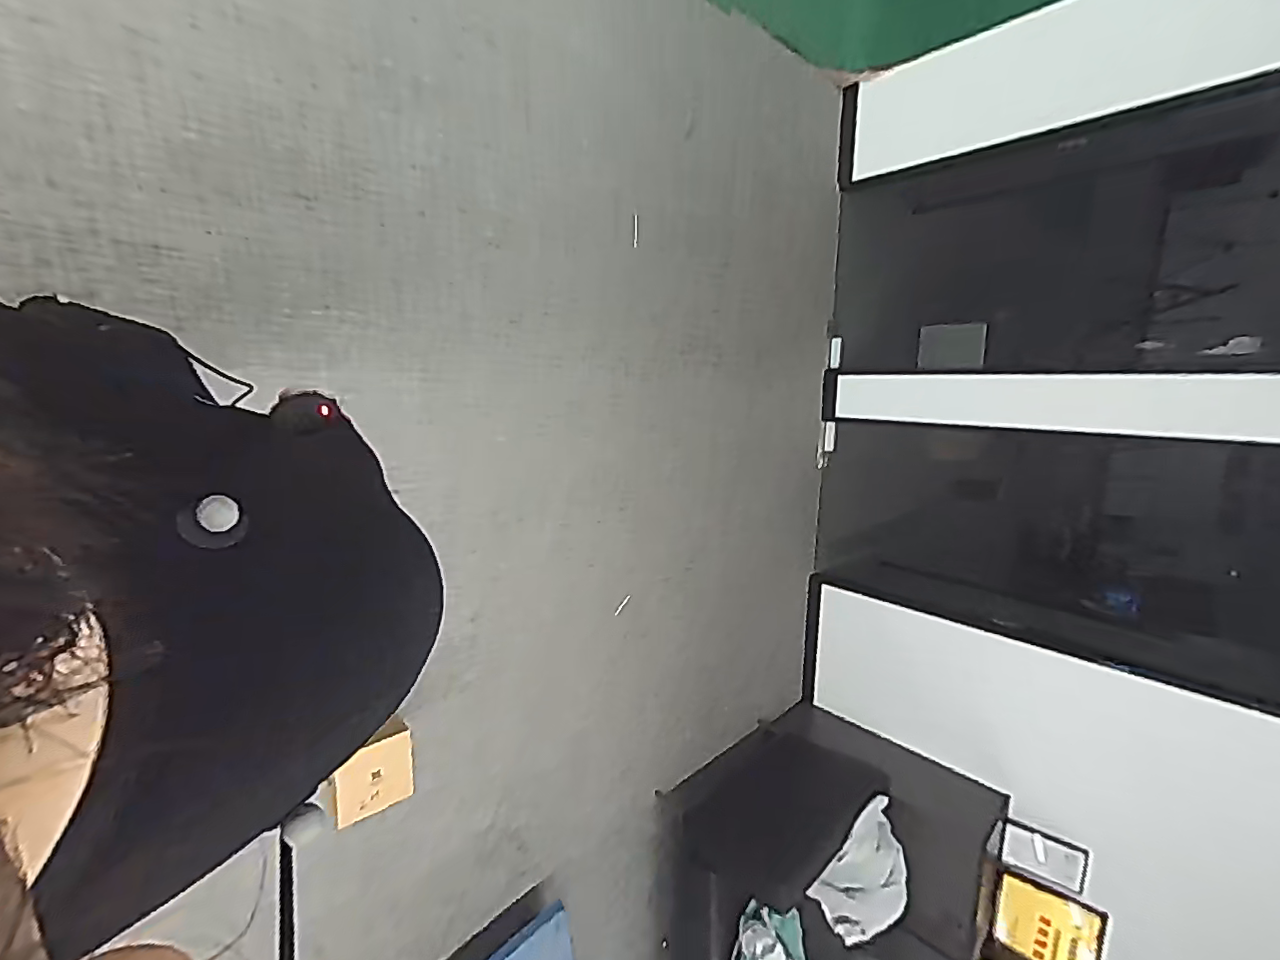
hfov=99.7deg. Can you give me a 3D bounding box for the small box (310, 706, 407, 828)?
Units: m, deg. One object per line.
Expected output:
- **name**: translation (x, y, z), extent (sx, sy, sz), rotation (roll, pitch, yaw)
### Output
- **small box**: translation (-0.674, 0.668, 1.291), extent (0.168, 0.176, 0.179), rotation (-7, 103, -43)
